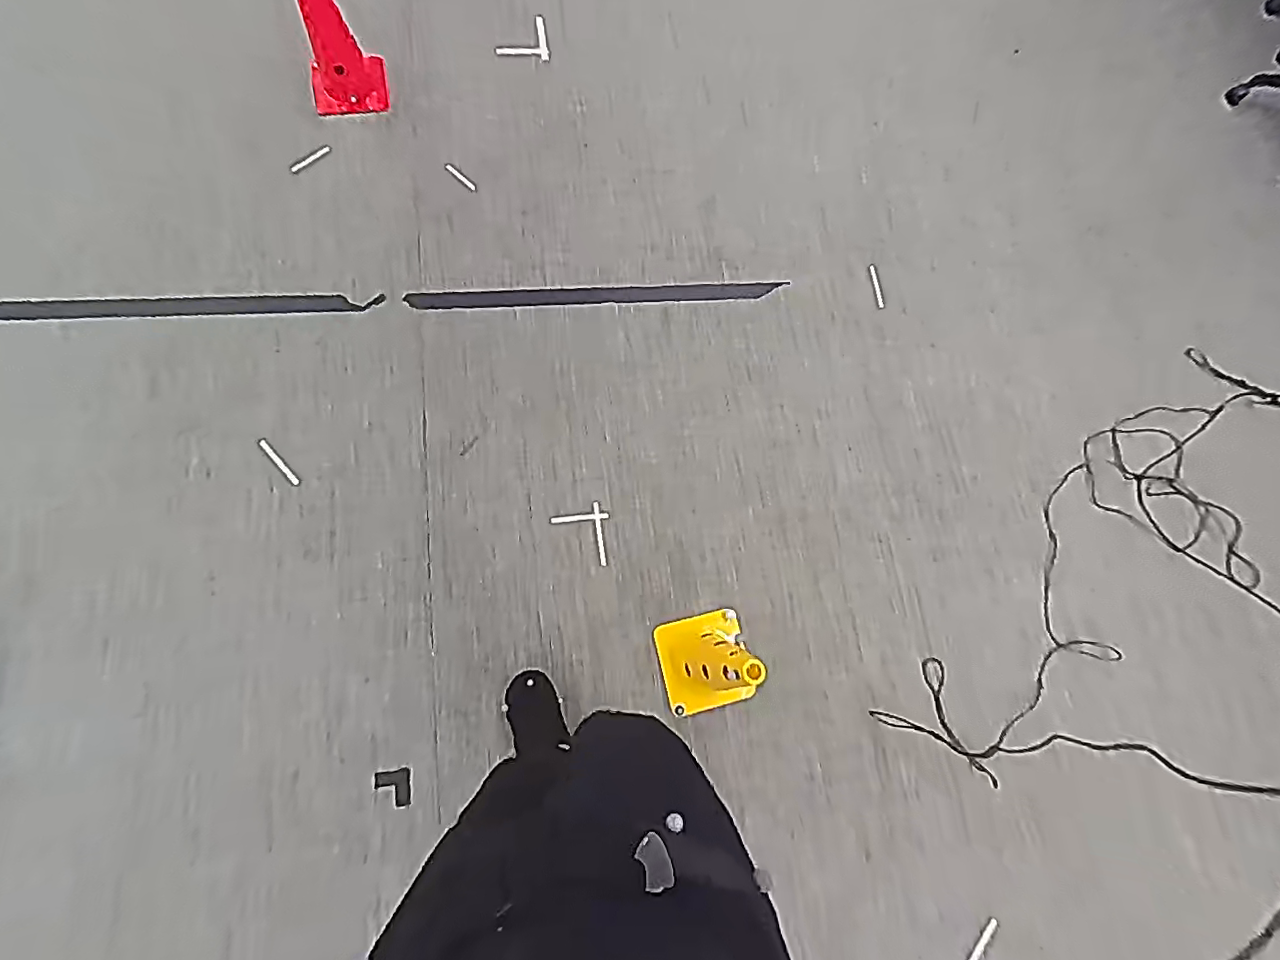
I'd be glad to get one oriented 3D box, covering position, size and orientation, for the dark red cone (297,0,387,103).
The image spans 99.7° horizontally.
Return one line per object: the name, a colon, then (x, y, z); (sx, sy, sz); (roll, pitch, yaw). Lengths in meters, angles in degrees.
dark red cone: (-0.800, -1.175, 1.352); (0.202, 0.394, 0.201); (-12, 77, -10)
